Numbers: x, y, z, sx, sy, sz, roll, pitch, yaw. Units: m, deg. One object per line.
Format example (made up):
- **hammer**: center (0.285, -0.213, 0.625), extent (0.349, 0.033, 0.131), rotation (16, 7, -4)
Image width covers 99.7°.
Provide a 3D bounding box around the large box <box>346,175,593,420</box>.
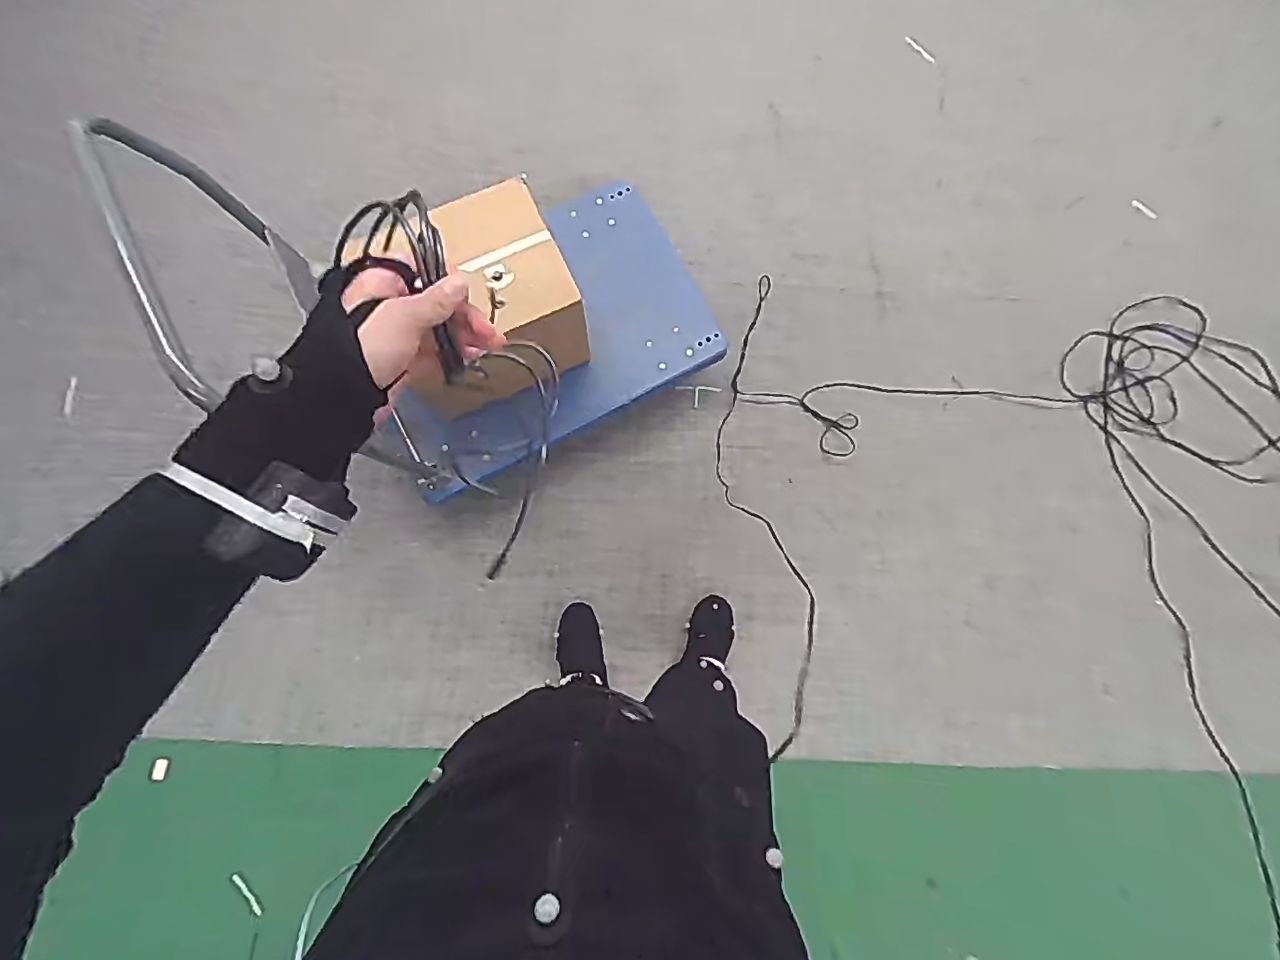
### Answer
- **large box**: center (-0.352, -0.387, 1.222), extent (0.408, 0.320, 0.320), rotation (-25, 82, -7)
